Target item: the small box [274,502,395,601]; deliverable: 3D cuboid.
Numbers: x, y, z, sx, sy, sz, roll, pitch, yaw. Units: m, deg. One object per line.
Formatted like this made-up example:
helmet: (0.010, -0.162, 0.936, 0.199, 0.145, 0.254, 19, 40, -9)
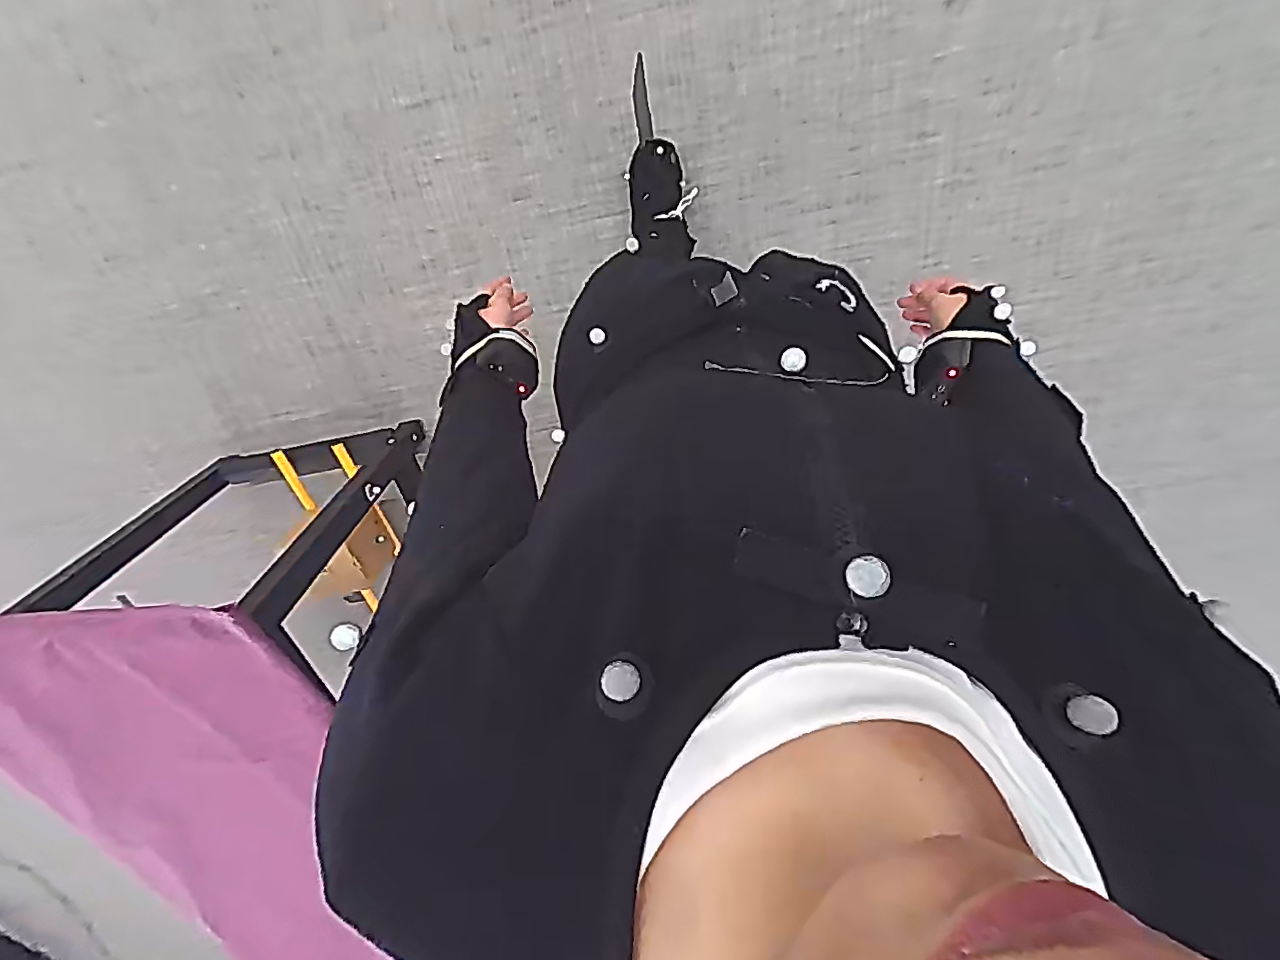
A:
small box: (-0.754, 0.176, 1.356, 0.179, 0.176, 0.168, -11, 121, 4)
